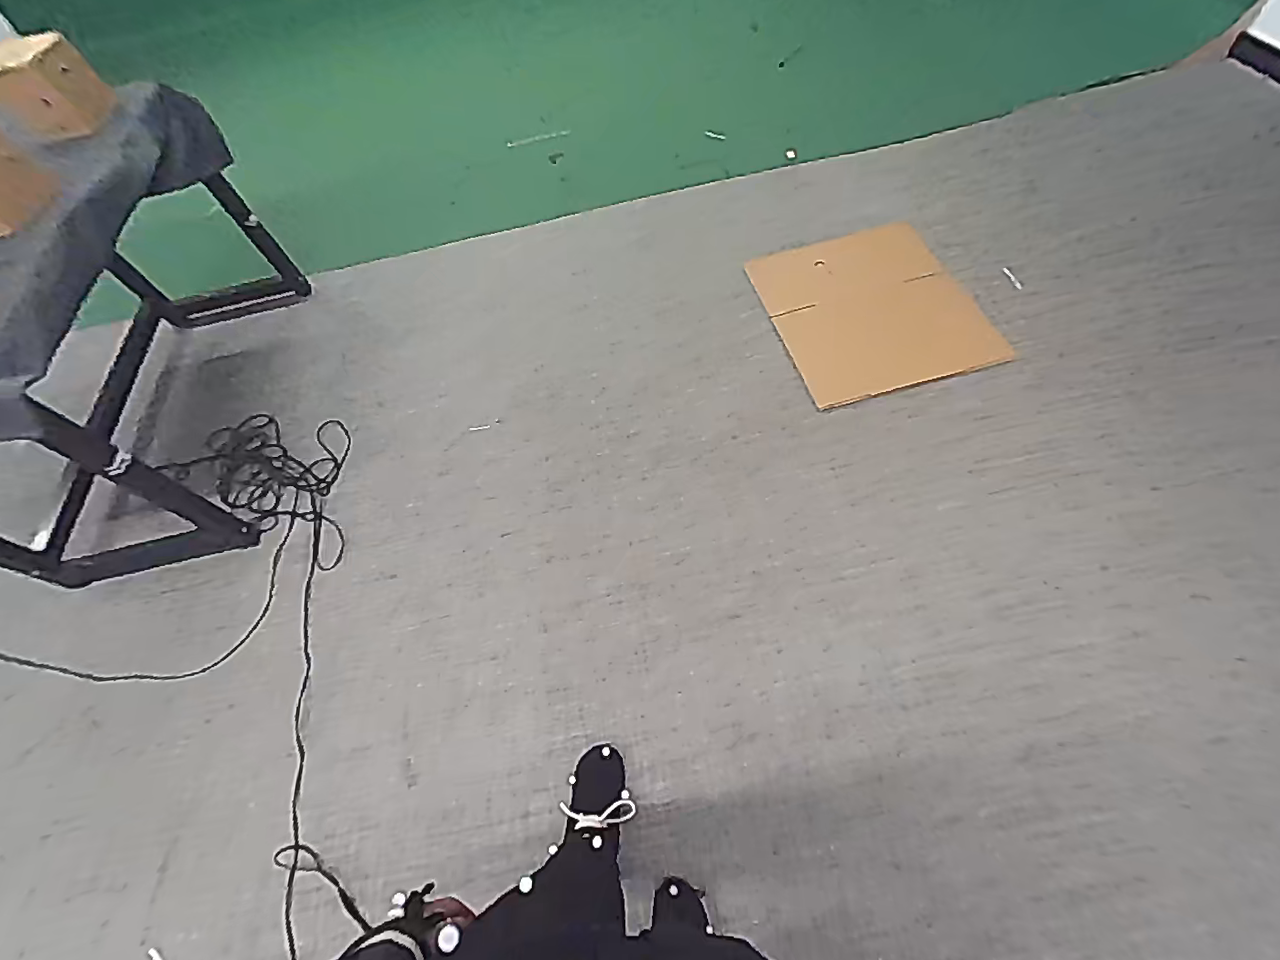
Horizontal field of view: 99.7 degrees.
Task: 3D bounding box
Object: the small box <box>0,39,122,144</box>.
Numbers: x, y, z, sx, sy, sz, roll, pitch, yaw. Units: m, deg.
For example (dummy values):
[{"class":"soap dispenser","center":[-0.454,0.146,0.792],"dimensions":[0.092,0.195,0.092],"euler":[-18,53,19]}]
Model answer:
[{"class":"small box","center":[-1.539,-1.013,1.423],"dimensions":[0.168,0.176,0.179],"euler":[-8,58,3]}]
